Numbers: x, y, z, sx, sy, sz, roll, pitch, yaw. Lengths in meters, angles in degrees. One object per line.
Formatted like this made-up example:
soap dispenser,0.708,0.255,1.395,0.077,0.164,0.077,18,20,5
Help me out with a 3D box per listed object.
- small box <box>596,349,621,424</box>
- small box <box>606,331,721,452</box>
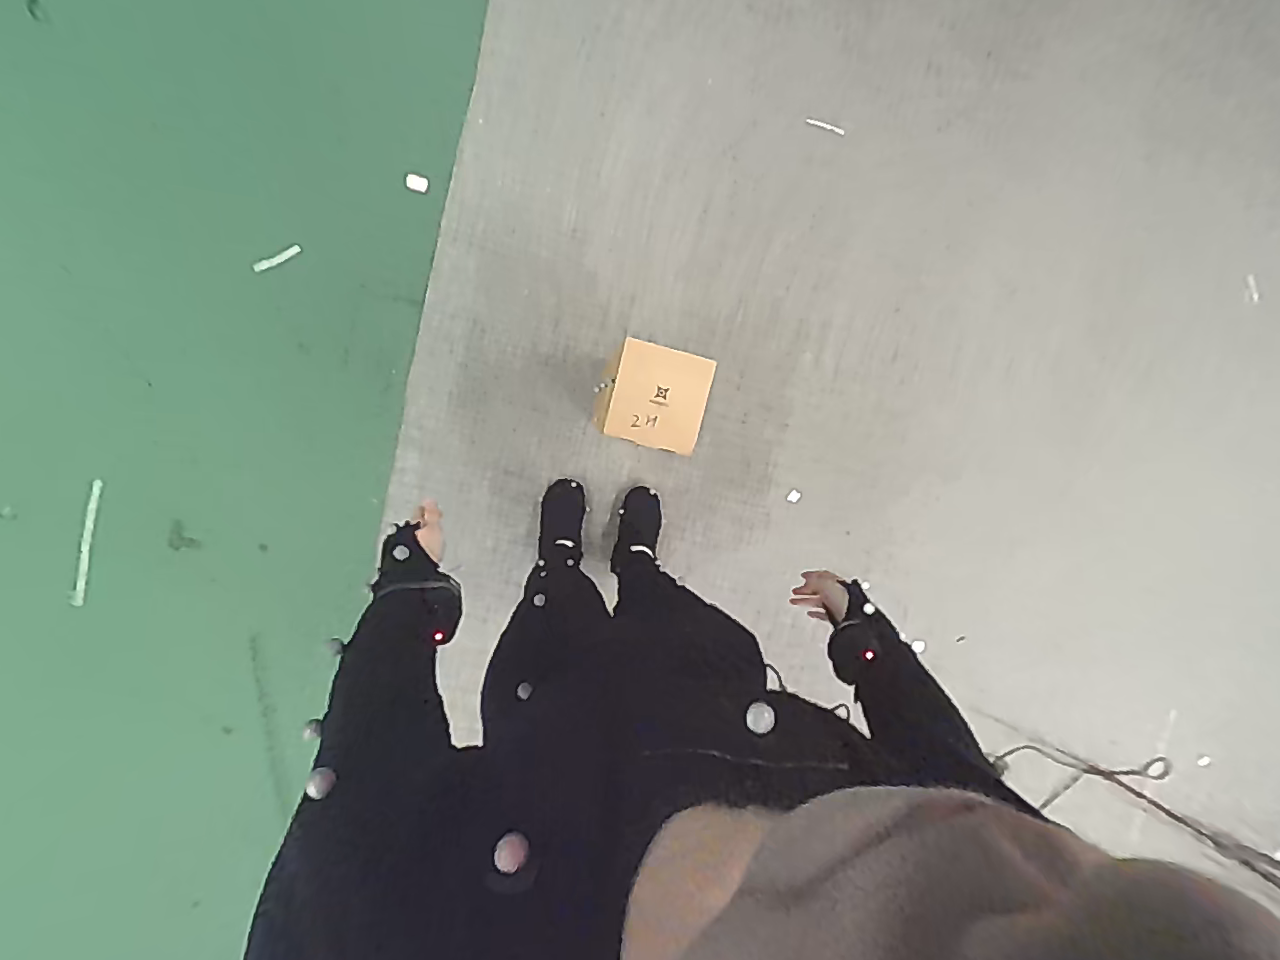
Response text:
small box,-0.006,-0.206,1.330,0.168,0.176,0.179,17,96,-8
small box,0.034,-0.160,1.007,0.168,0.176,0.179,14,95,-6
